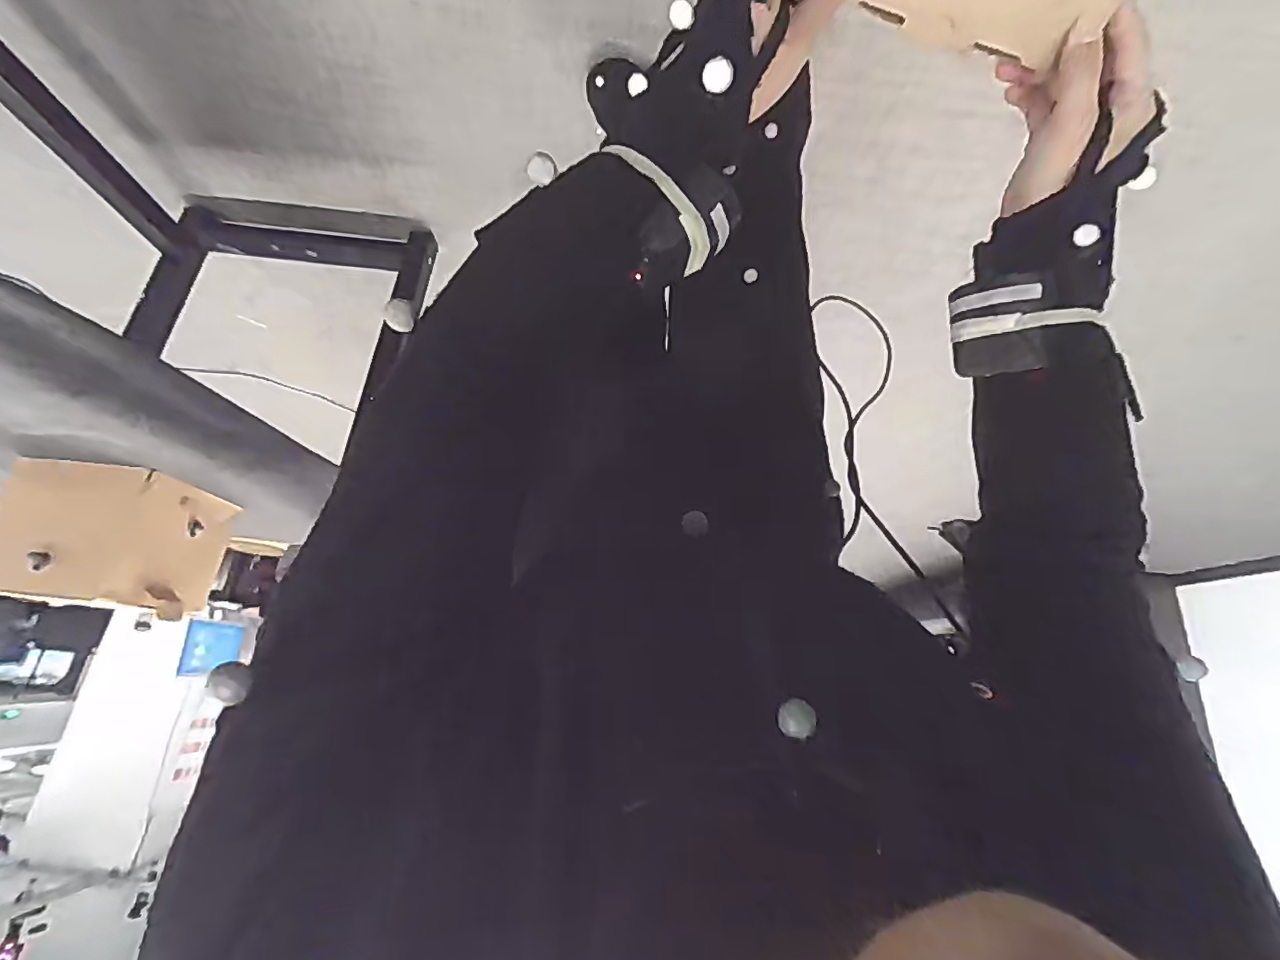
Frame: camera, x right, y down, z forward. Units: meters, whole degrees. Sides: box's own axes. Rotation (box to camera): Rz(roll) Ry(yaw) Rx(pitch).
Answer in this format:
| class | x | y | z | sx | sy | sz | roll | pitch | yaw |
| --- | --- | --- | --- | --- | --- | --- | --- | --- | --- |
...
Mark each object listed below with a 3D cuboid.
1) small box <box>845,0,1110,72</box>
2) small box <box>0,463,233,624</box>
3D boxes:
| class | x | y | z | sx | sy | sz | roll | pitch | yaw |
| --- | --- | --- | --- | --- | --- | --- | --- | --- | --- |
| small box | 0.201 | -0.372 | 0.289 | 0.168 | 0.176 | 0.179 | 14 | 145 | -5 |
| small box | -0.692 | 0.085 | 0.707 | 0.179 | 0.176 | 0.168 | 5 | 160 | 2 |
